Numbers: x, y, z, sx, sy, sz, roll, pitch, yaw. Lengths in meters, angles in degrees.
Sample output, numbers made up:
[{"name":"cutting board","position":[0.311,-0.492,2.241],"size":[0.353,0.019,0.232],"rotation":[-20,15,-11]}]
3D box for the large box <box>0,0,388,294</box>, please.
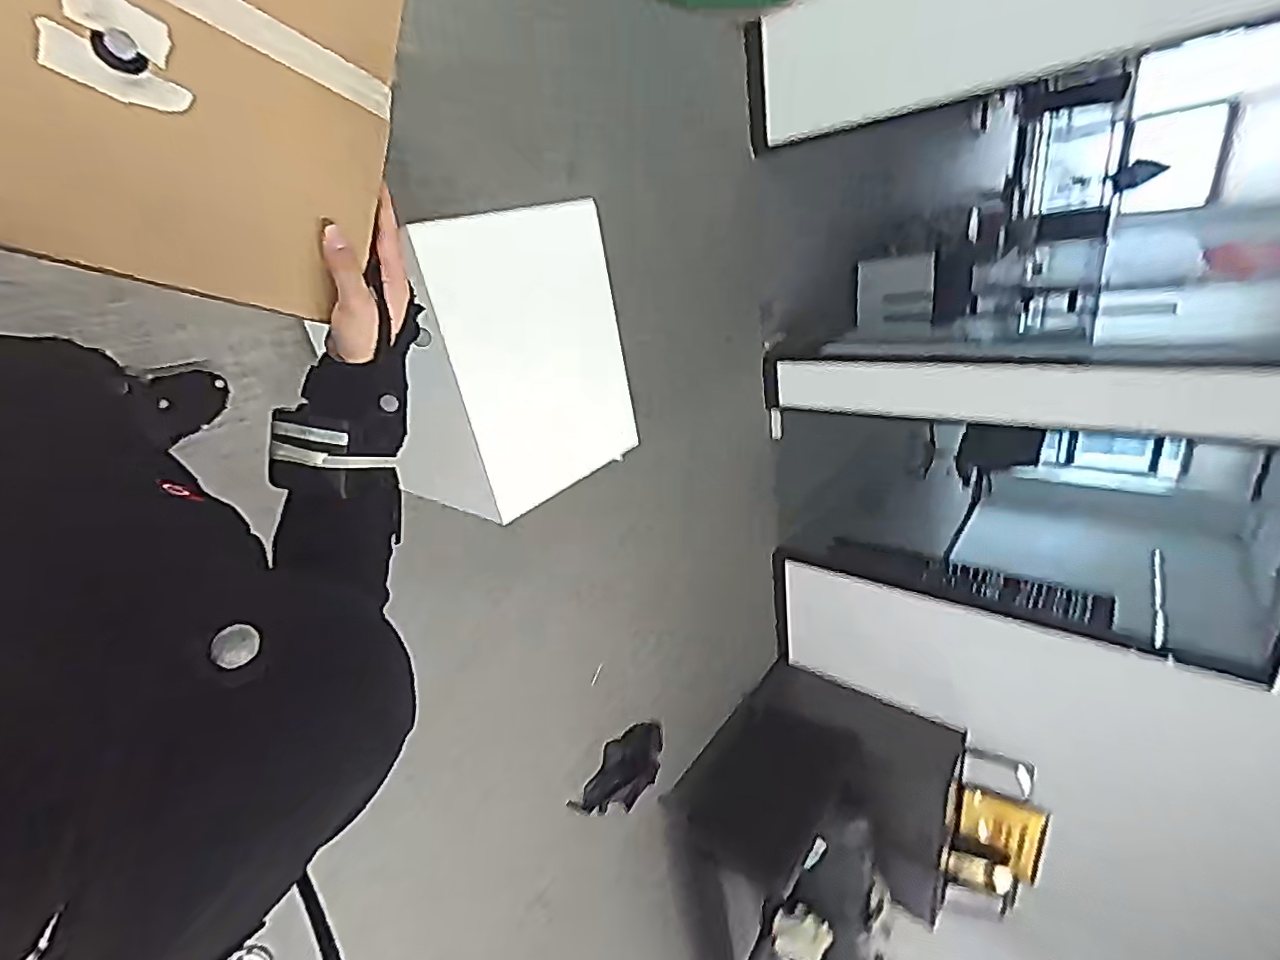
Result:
[{"name":"large box","position":[-0.423,-0.324,0.317],"size":[0.408,0.320,0.320],"rotation":[1,107,-51]}]
